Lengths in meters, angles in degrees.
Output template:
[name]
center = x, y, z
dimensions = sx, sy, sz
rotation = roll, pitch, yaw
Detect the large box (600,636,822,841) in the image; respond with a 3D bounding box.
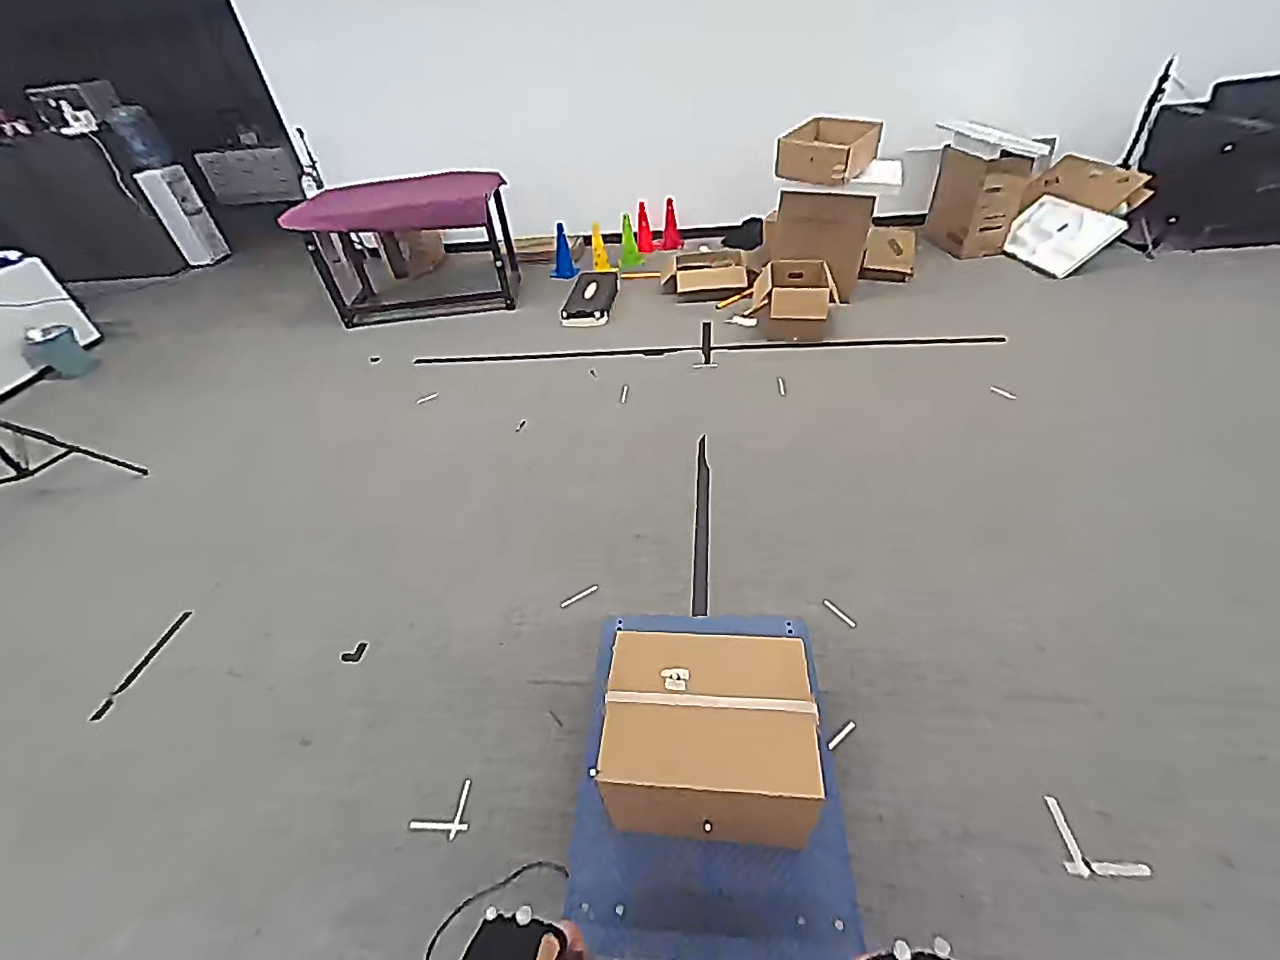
[large box]
center = 0.150, 0.558, 1.176
dimensions = 0.408, 0.320, 0.320
rotation = -1, 41, 8
